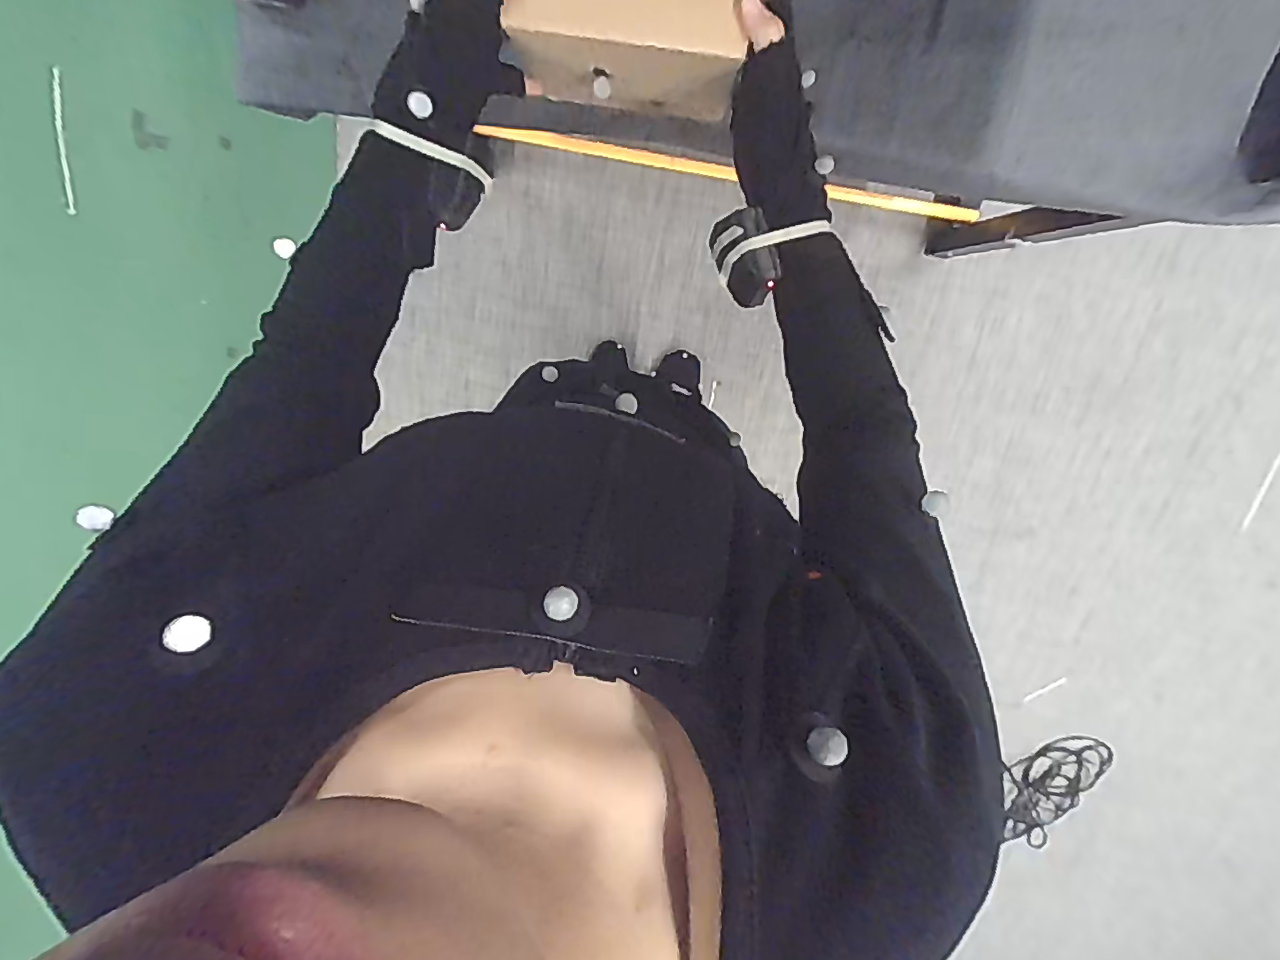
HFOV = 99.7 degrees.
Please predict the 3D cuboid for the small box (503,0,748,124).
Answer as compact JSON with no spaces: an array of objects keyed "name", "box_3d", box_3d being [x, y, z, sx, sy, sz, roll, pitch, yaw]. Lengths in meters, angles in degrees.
[{"name":"small box","box_3d":[0.001,-0.398,0.412,0.168,0.176,0.179,7,110,-1]}]
